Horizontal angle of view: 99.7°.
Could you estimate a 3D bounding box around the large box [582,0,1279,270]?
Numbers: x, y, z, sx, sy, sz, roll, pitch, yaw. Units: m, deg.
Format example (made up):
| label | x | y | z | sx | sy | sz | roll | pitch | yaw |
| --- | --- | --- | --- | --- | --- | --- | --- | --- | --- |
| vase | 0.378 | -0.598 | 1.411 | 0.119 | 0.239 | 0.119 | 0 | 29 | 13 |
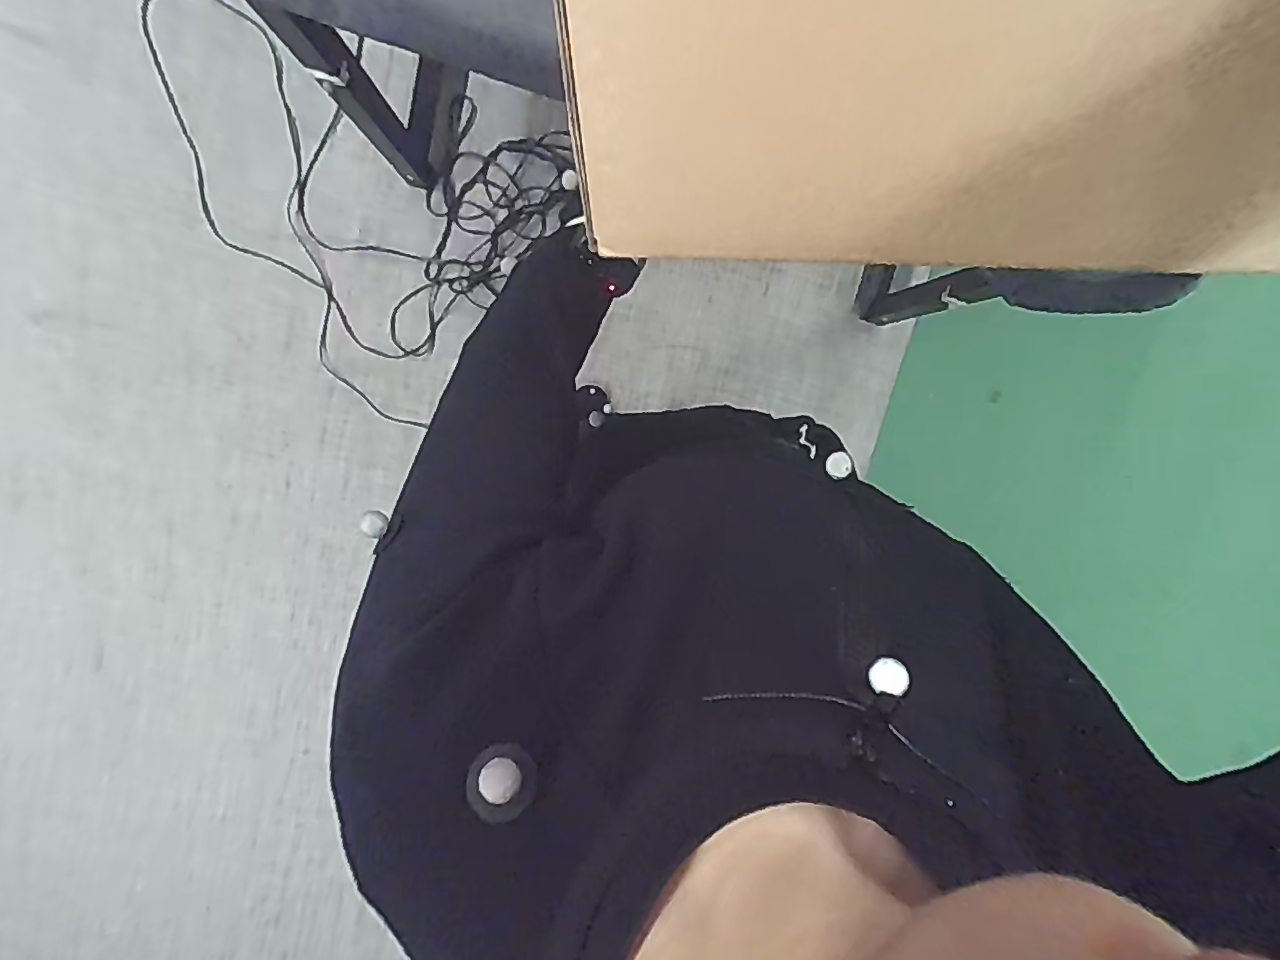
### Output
| label | x | y | z | sx | sy | sz | roll | pitch | yaw |
| --- | --- | --- | --- | --- | --- | --- | --- | --- | --- |
| large box | 0.189 | -0.330 | 0.283 | 0.408 | 0.320 | 0.320 | 3 | 137 | 10 |
